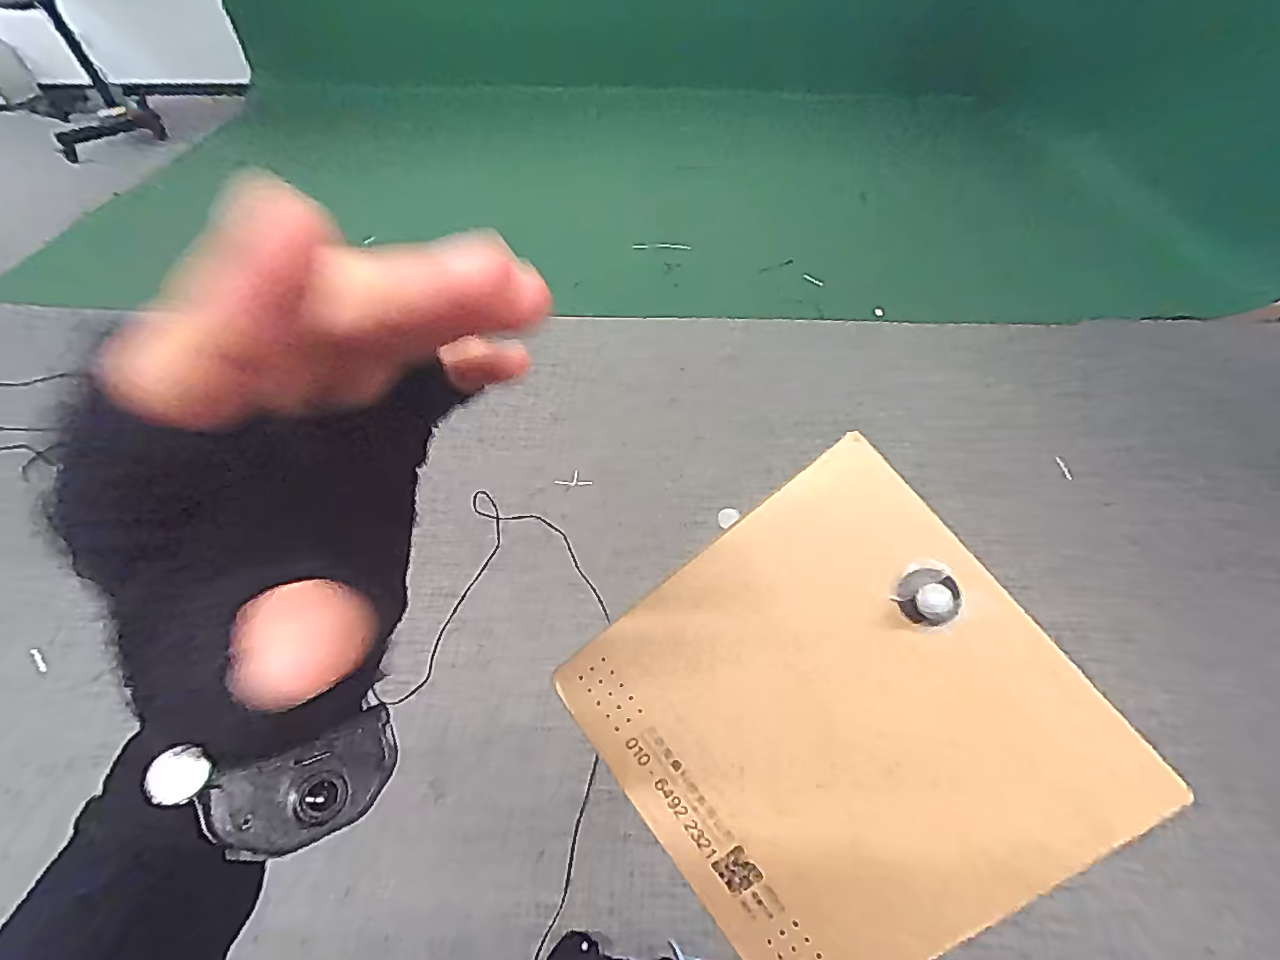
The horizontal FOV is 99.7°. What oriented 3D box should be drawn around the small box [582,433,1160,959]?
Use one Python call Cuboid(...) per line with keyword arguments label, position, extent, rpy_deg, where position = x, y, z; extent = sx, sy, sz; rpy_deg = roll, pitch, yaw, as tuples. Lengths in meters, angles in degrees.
Cuboid(label="small box", position=(0.094, 0.100, 0.299), extent=(0.176, 0.179, 0.168), rpy_deg=(-40, 78, 9))
